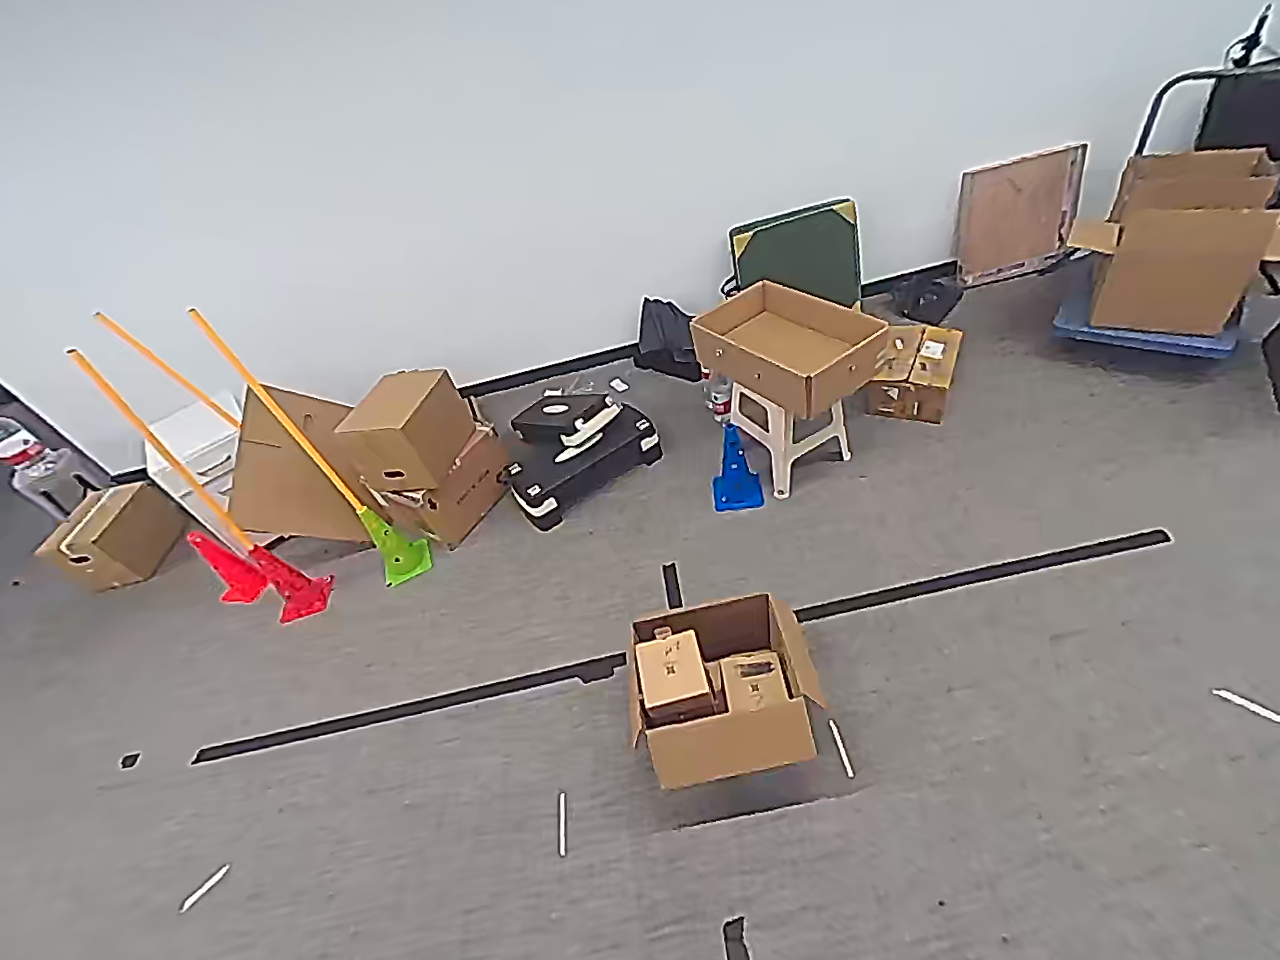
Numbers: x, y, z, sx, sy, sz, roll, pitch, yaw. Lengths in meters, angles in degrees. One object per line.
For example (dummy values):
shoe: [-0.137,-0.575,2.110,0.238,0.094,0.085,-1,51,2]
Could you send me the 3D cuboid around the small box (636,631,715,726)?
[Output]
small box: [0.096,0.535,1.443,0.168,0.176,0.179,-14,44,2]
